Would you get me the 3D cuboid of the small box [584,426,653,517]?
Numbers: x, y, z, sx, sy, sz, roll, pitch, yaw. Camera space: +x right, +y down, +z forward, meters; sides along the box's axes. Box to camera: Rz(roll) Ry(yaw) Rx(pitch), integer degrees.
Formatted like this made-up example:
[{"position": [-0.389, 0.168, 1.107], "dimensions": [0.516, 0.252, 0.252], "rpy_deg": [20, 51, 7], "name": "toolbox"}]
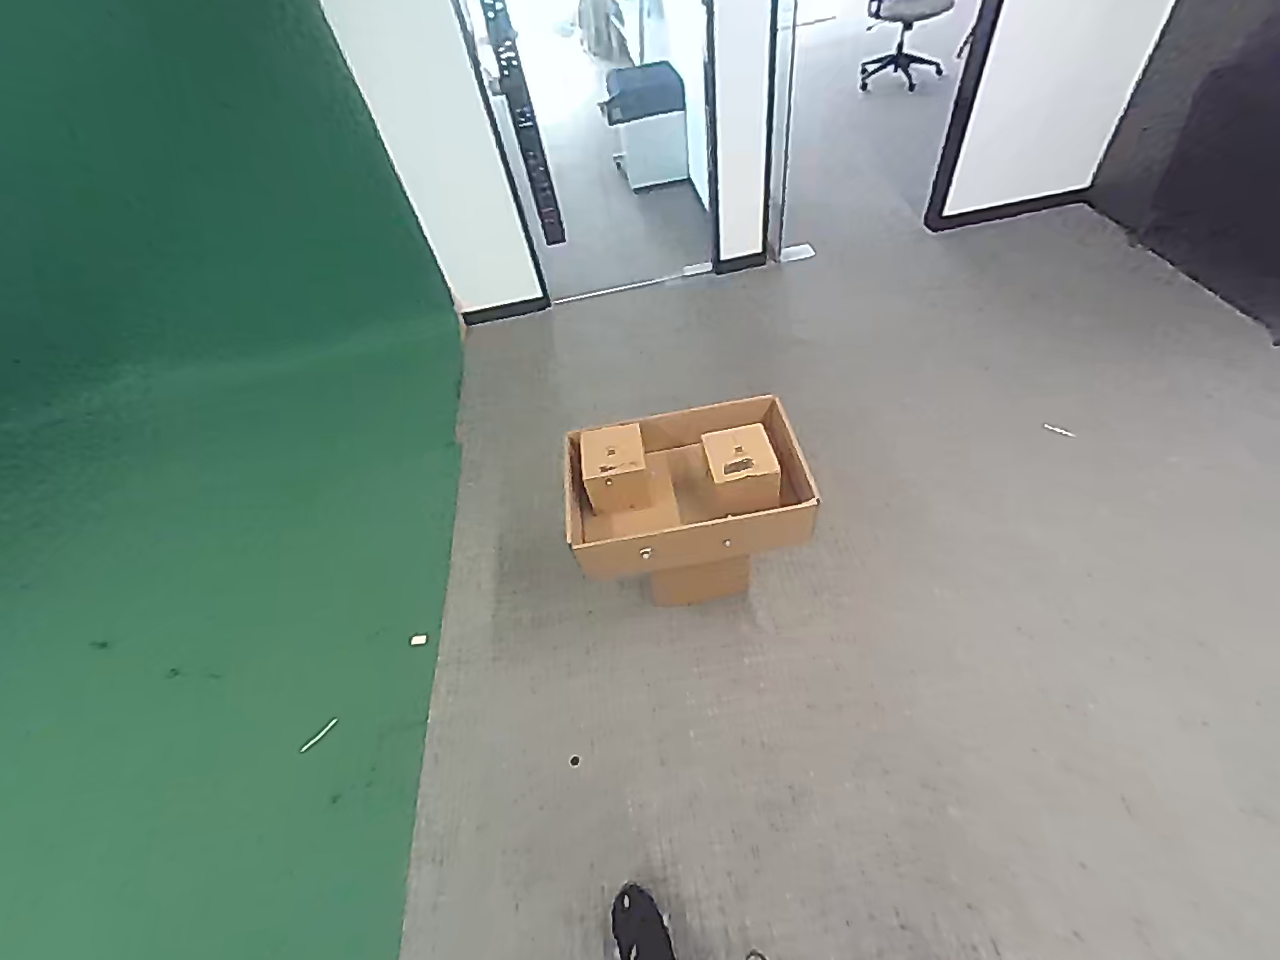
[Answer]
[{"position": [-0.058, -0.023, 1.493], "dimensions": [0.168, 0.176, 0.179], "rpy_deg": [-9, 49, 3], "name": "small box"}]
